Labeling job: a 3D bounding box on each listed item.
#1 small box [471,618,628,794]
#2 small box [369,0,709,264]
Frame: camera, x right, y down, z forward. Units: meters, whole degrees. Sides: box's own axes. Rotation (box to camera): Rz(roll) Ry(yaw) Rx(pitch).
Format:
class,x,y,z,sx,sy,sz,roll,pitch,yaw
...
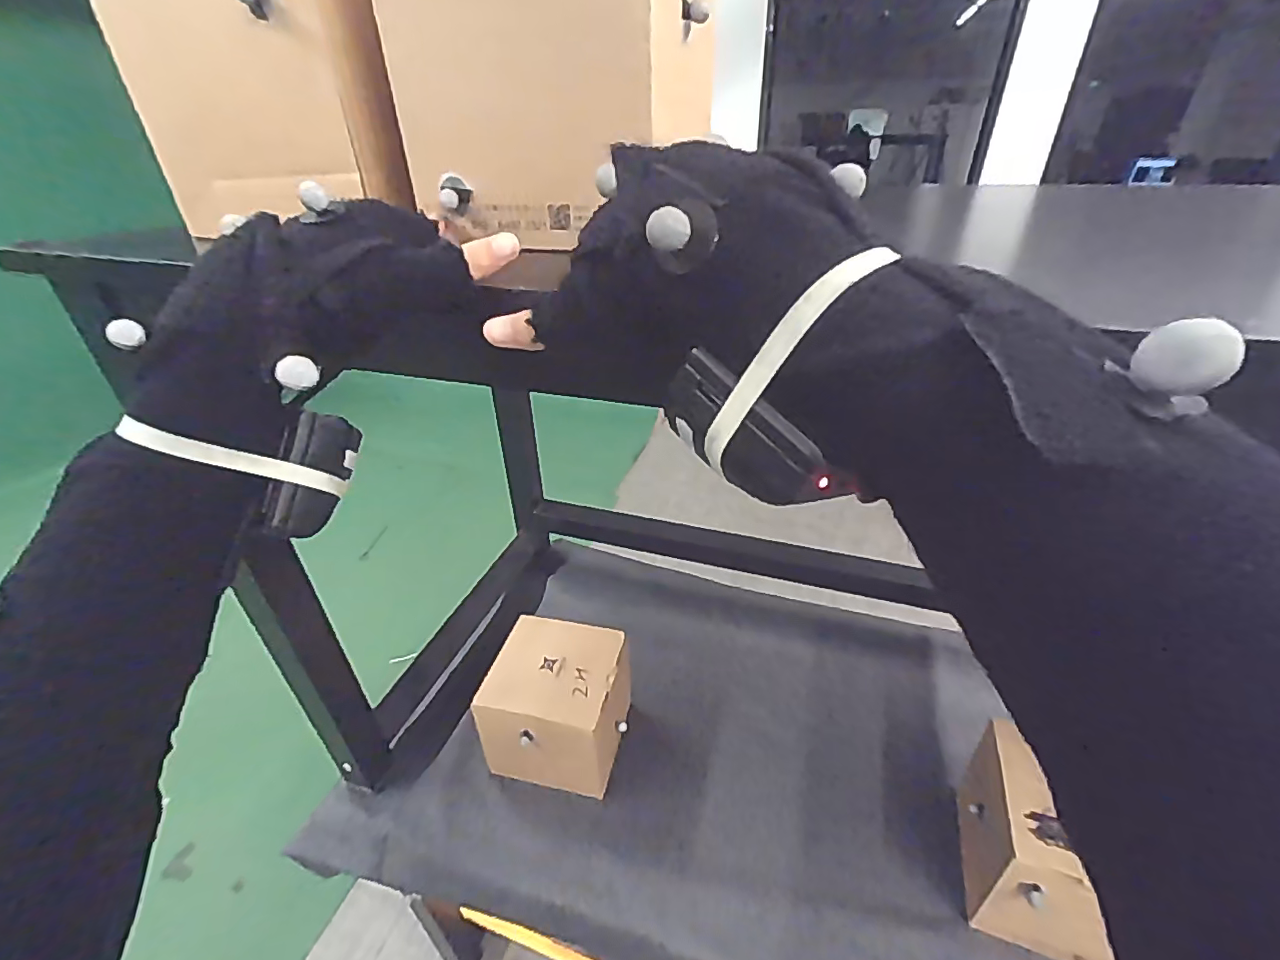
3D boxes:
class,x,y,z,sx,sy,sz,roll,pitch,yaw
small box,-0.123,0.337,0.811,0.179,0.176,0.168,7,34,12
small box,-0.048,-0.255,0.380,0.168,0.176,0.179,8,33,15
